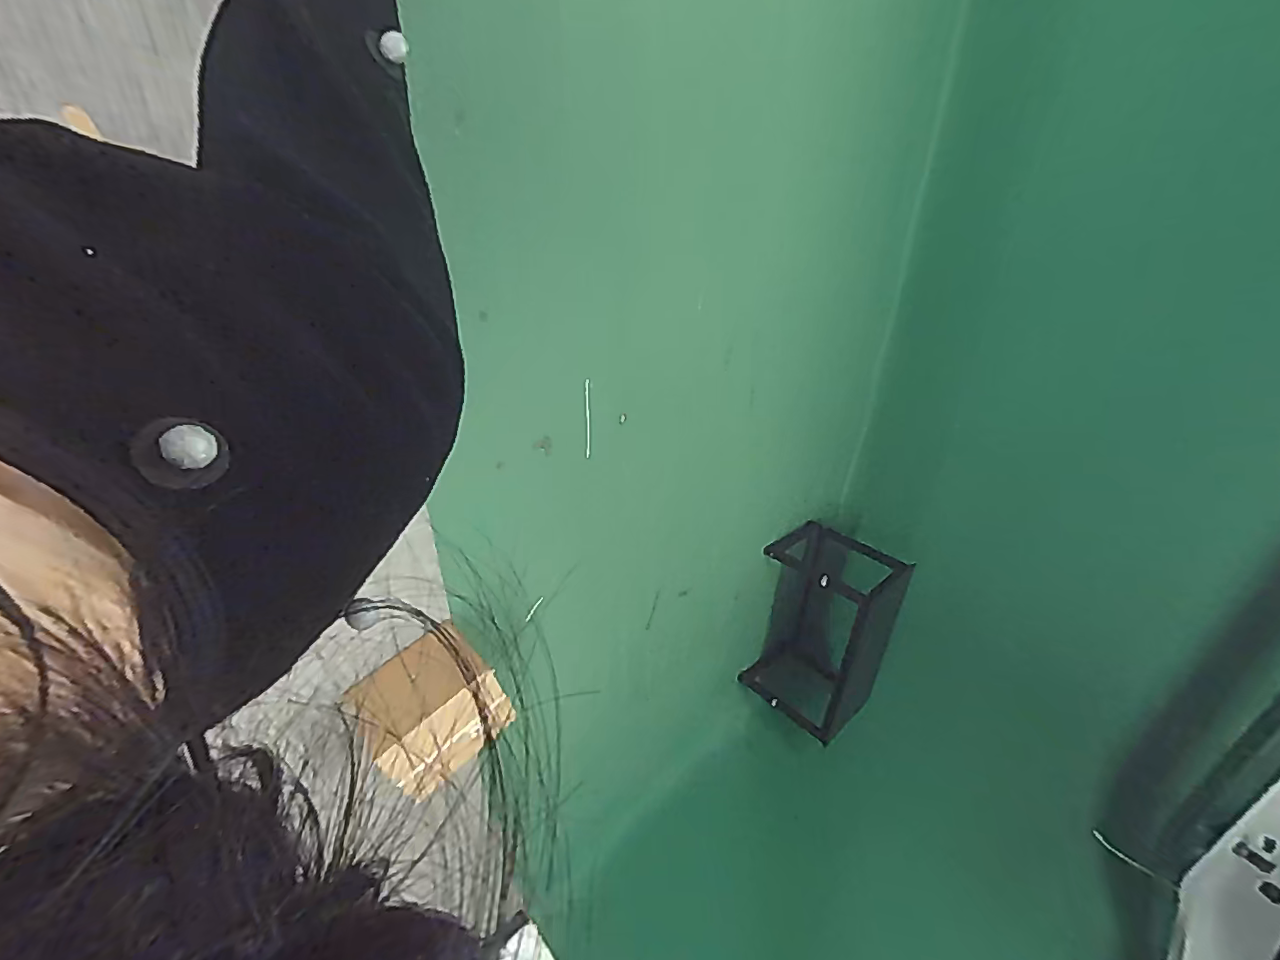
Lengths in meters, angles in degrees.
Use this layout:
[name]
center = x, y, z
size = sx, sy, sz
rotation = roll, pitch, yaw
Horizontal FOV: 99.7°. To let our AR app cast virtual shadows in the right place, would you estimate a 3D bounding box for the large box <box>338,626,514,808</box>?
[large box]
center = -0.714, 0.787, 1.833
size = 0.408, 0.320, 0.320
rotation = -37, 135, -29
